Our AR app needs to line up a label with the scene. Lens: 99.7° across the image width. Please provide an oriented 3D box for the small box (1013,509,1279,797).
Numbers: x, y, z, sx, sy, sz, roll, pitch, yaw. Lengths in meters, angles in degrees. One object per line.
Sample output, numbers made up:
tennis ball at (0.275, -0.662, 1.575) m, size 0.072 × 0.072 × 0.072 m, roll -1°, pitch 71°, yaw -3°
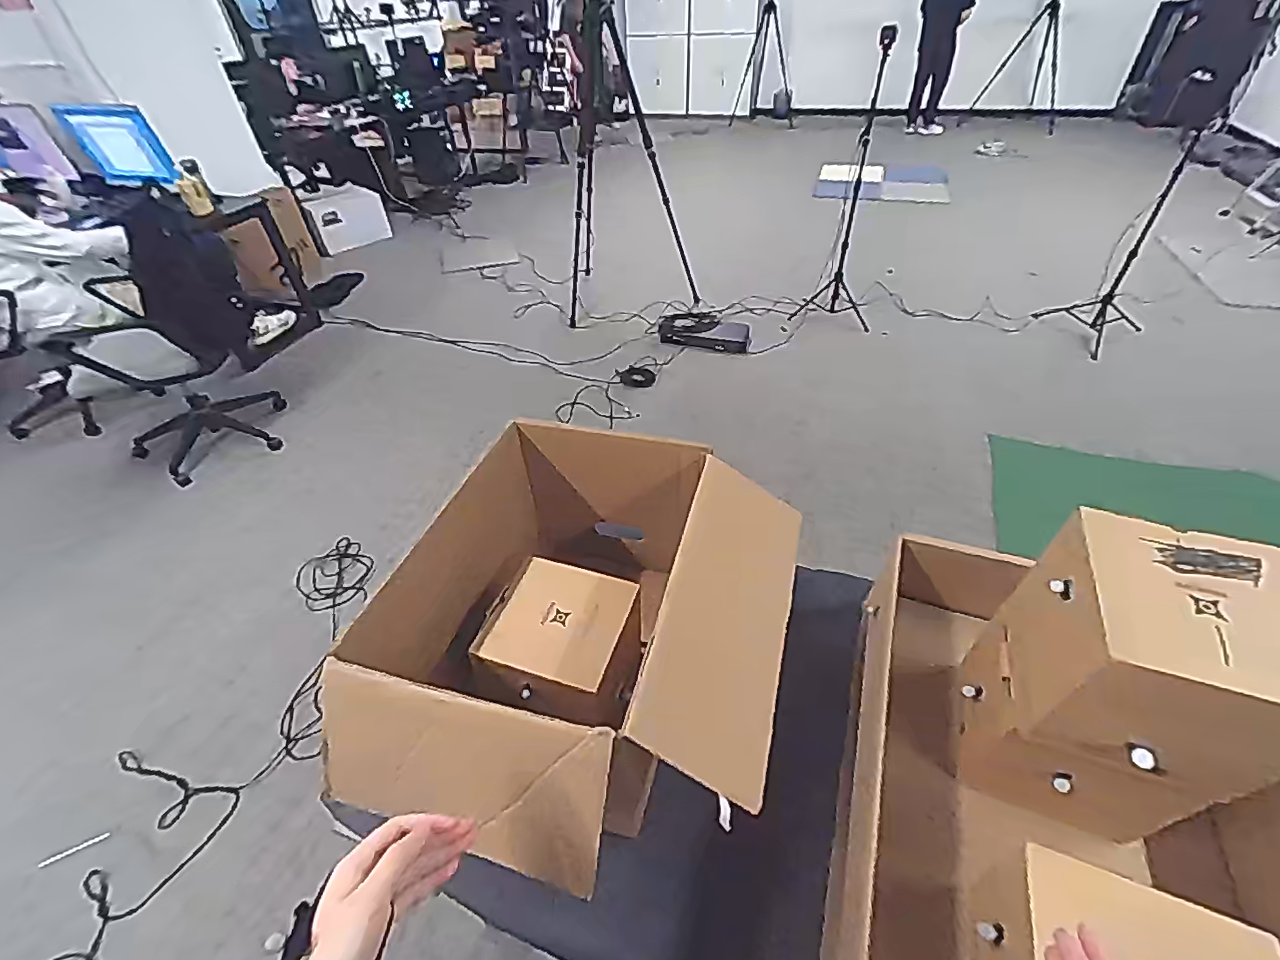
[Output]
small box at (0.482, 0.161, 0.515) m, size 0.168 × 0.176 × 0.179 m, roll 14°, pitch 47°, yaw 18°
